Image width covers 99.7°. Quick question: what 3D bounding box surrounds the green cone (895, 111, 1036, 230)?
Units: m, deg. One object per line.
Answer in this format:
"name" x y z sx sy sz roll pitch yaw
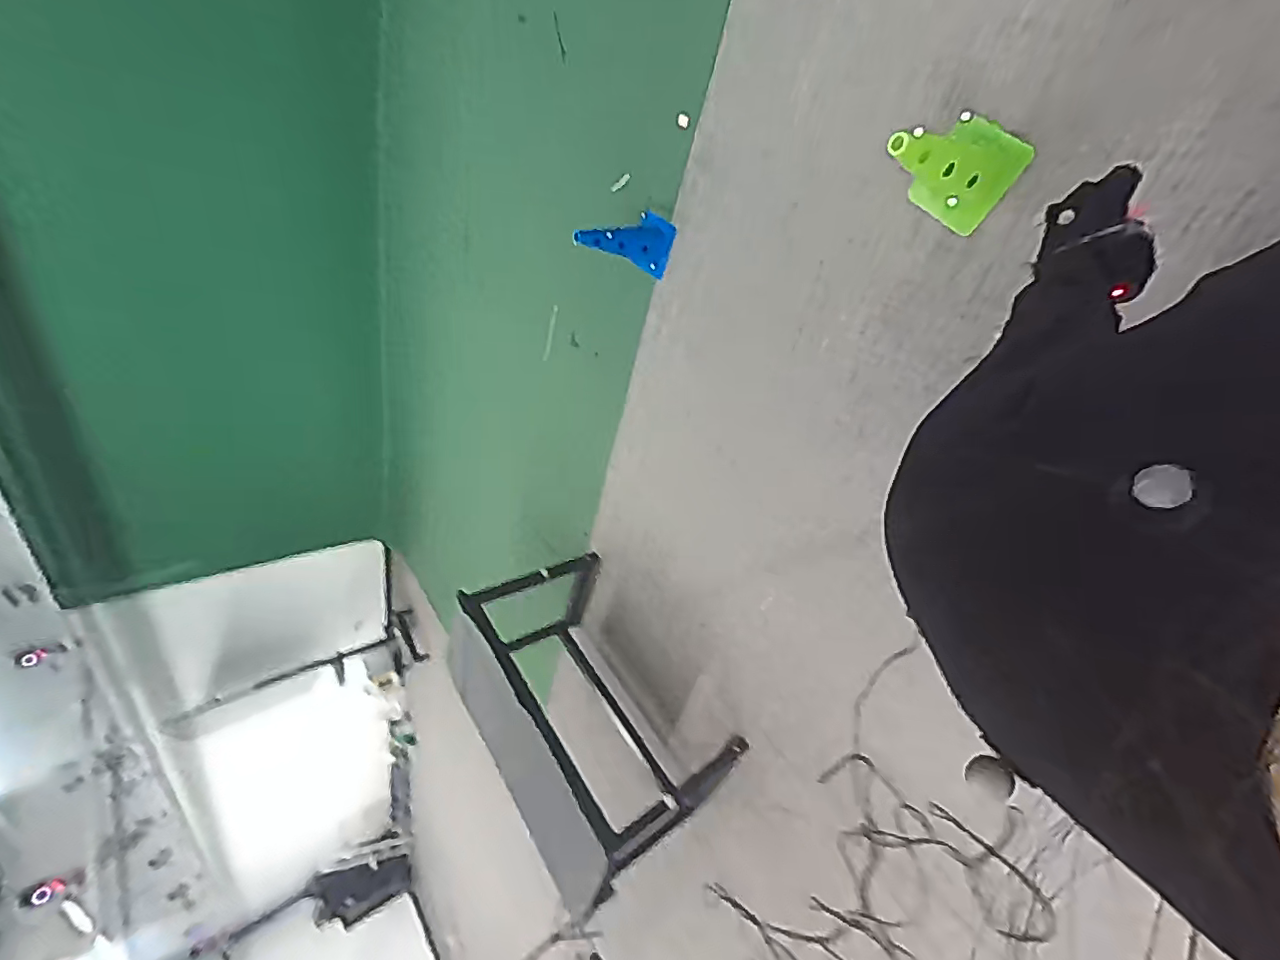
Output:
"green cone" 0.639 -0.688 1.153 0.202 0.368 0.200 54 136 26
